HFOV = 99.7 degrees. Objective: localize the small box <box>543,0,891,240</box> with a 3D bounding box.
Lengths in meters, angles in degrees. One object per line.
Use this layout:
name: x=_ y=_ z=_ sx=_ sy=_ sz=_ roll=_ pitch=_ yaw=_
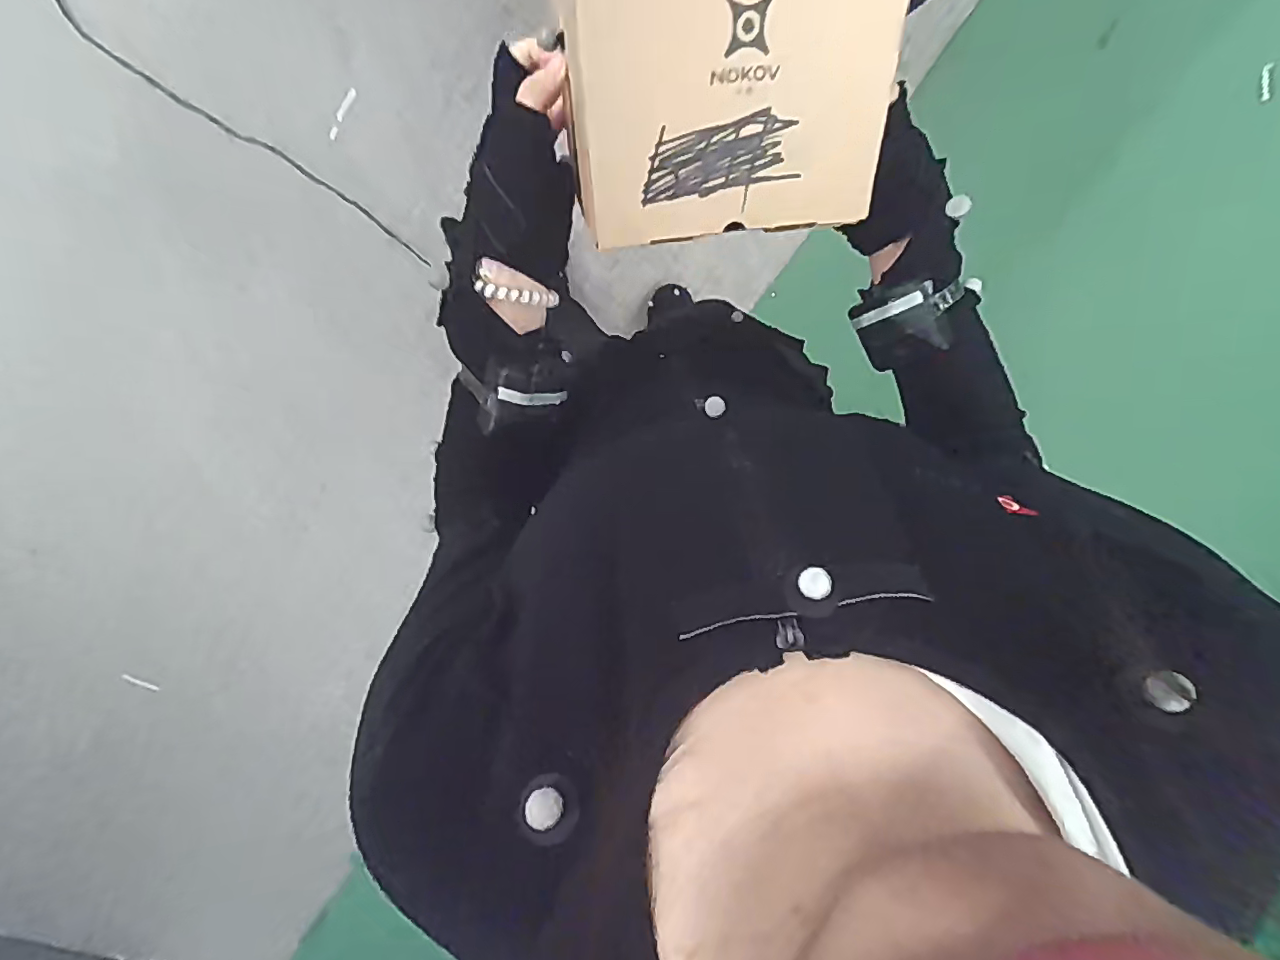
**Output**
small box: x=0.030 y=-0.266 z=0.324 sx=0.168 sy=0.176 sz=0.179 roll=-9 pitch=130 yaw=-5
